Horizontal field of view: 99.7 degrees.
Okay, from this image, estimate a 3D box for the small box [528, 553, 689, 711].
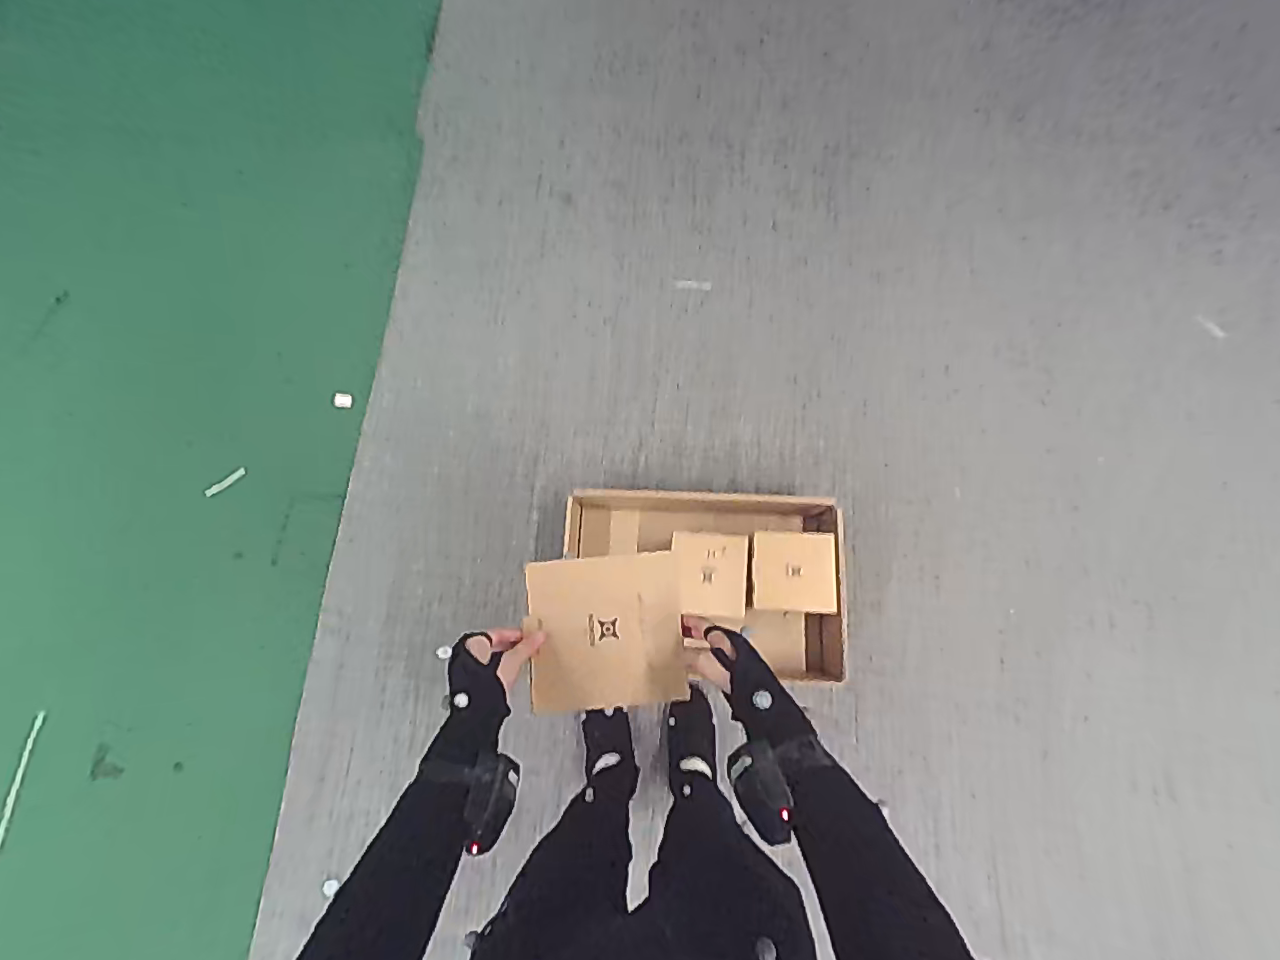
[{"bbox_3d":[-0.038,0.187,0.682,0.179,0.176,0.168,-4,77,-2],"label":"small box"}]
